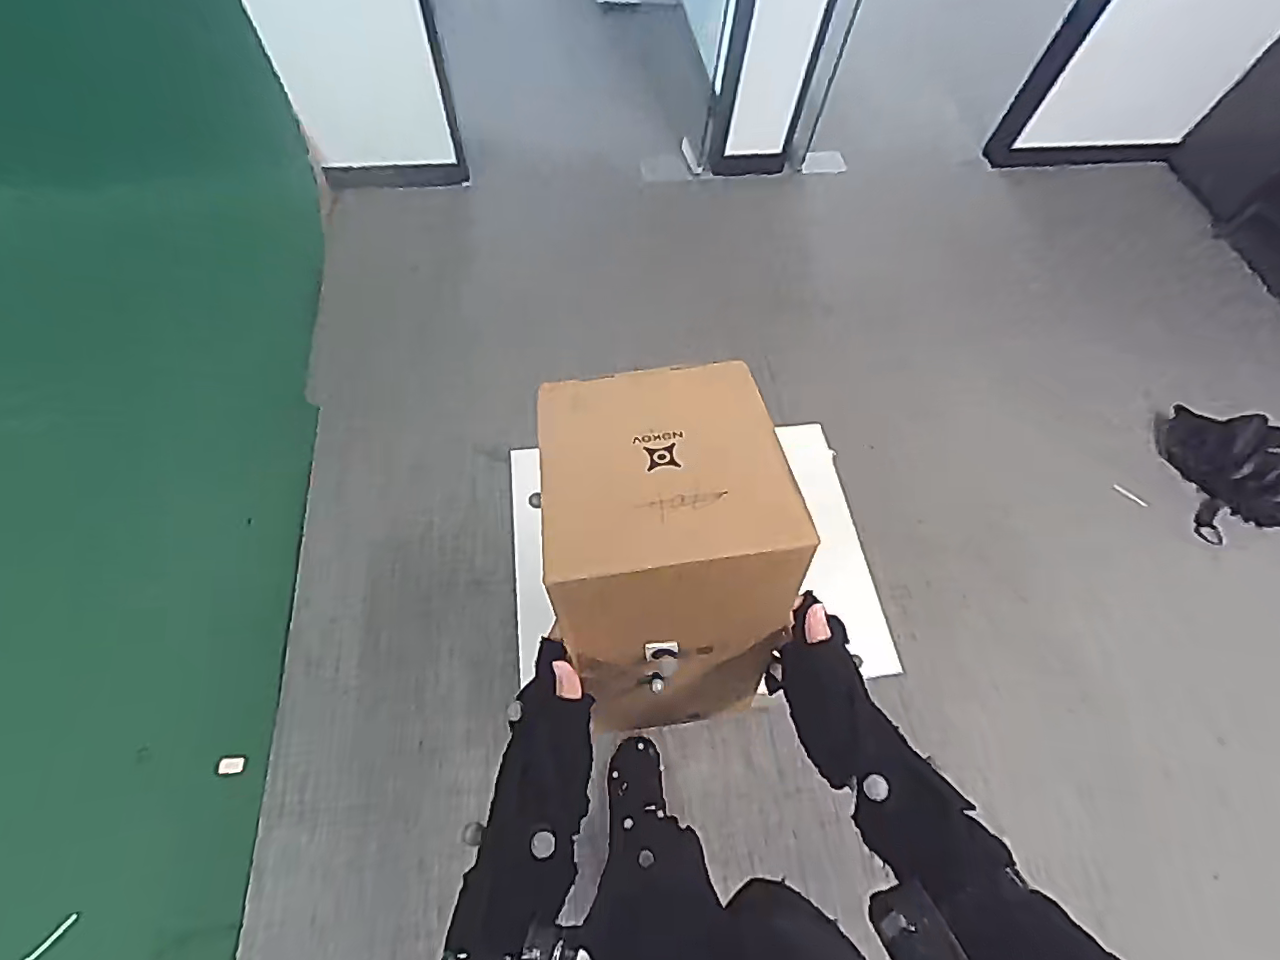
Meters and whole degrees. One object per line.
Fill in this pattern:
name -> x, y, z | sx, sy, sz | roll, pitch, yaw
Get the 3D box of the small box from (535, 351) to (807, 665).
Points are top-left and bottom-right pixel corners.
small box -> 0.012, 0.024, 0.433 | 0.168, 0.176, 0.179 | -8, 50, -4

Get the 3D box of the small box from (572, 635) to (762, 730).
small box -> 0.017, 0.140, 0.570 | 0.168, 0.176, 0.179 | -7, 49, -3
